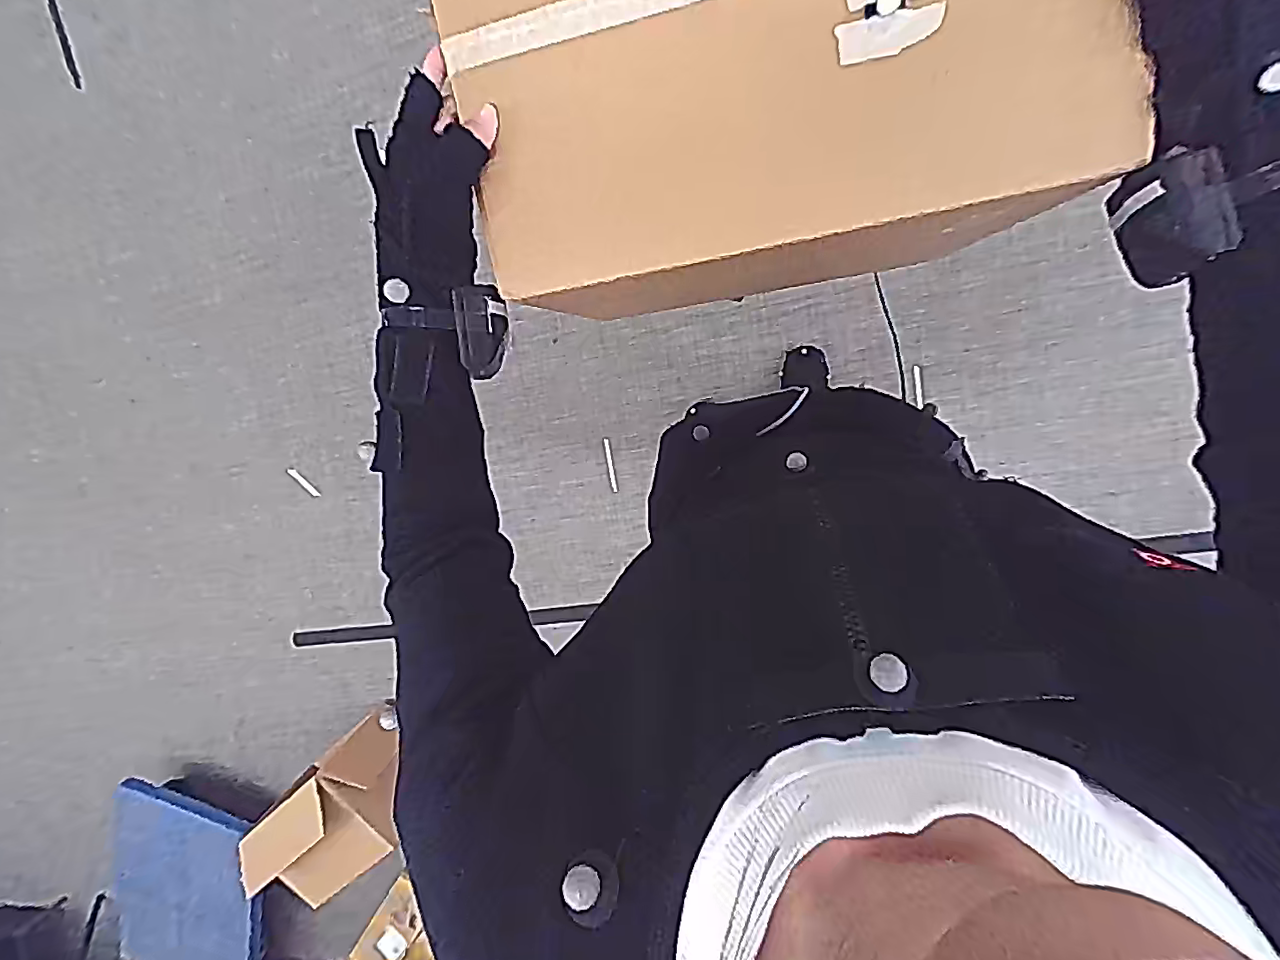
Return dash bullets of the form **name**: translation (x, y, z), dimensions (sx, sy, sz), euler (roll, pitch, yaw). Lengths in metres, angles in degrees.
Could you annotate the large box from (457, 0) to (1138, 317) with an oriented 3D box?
- **large box**: translation (0.097, -0.347, 0.473), dimensions (0.408, 0.320, 0.320), euler (-8, 102, 10)
